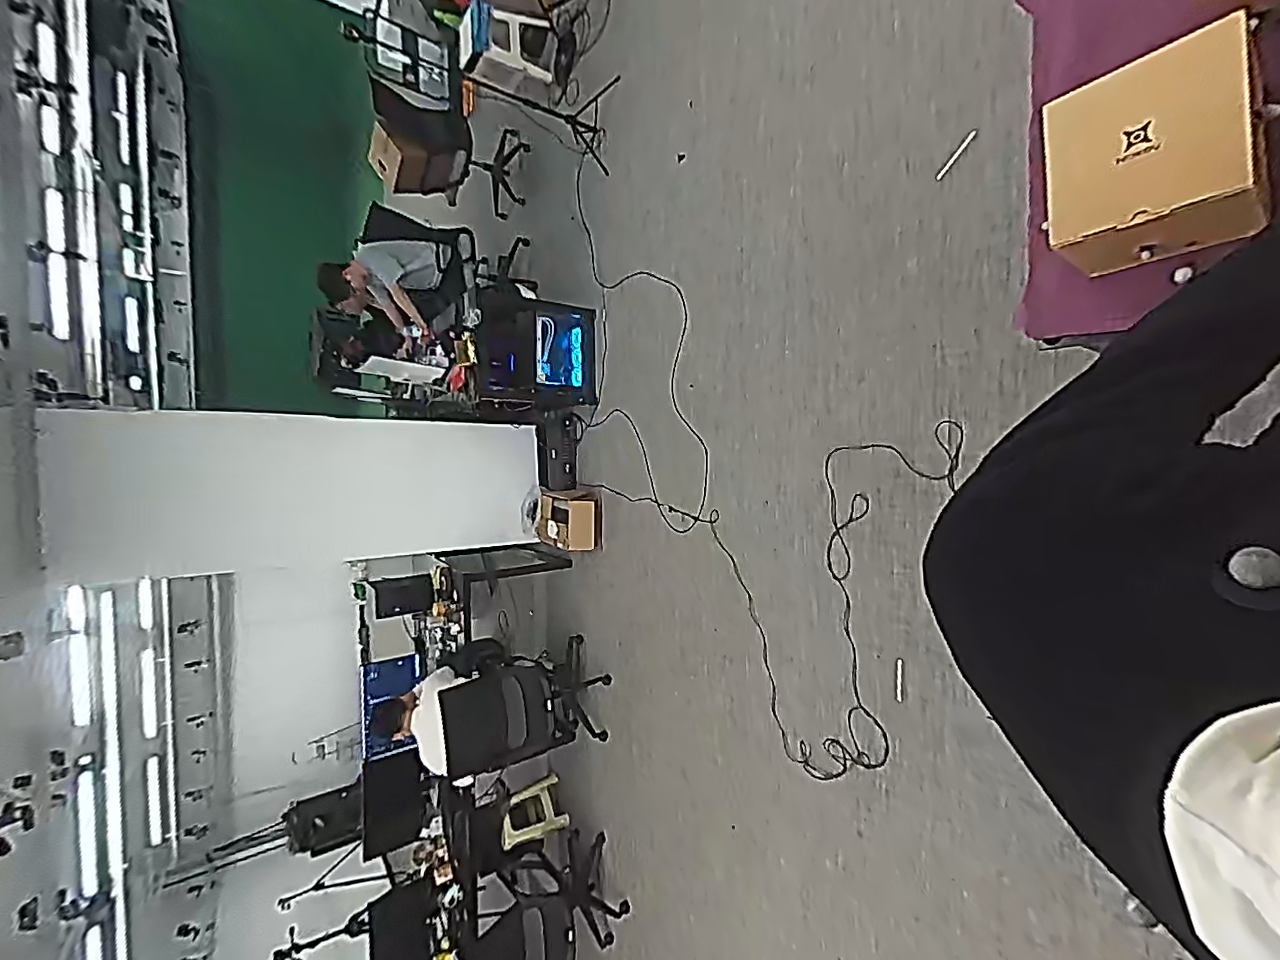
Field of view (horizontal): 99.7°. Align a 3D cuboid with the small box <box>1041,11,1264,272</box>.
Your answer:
[{"bbox_3d":[0.594,-0.367,0.630,0.168,0.176,0.179,-4,89,53],"label":"small box"}]
